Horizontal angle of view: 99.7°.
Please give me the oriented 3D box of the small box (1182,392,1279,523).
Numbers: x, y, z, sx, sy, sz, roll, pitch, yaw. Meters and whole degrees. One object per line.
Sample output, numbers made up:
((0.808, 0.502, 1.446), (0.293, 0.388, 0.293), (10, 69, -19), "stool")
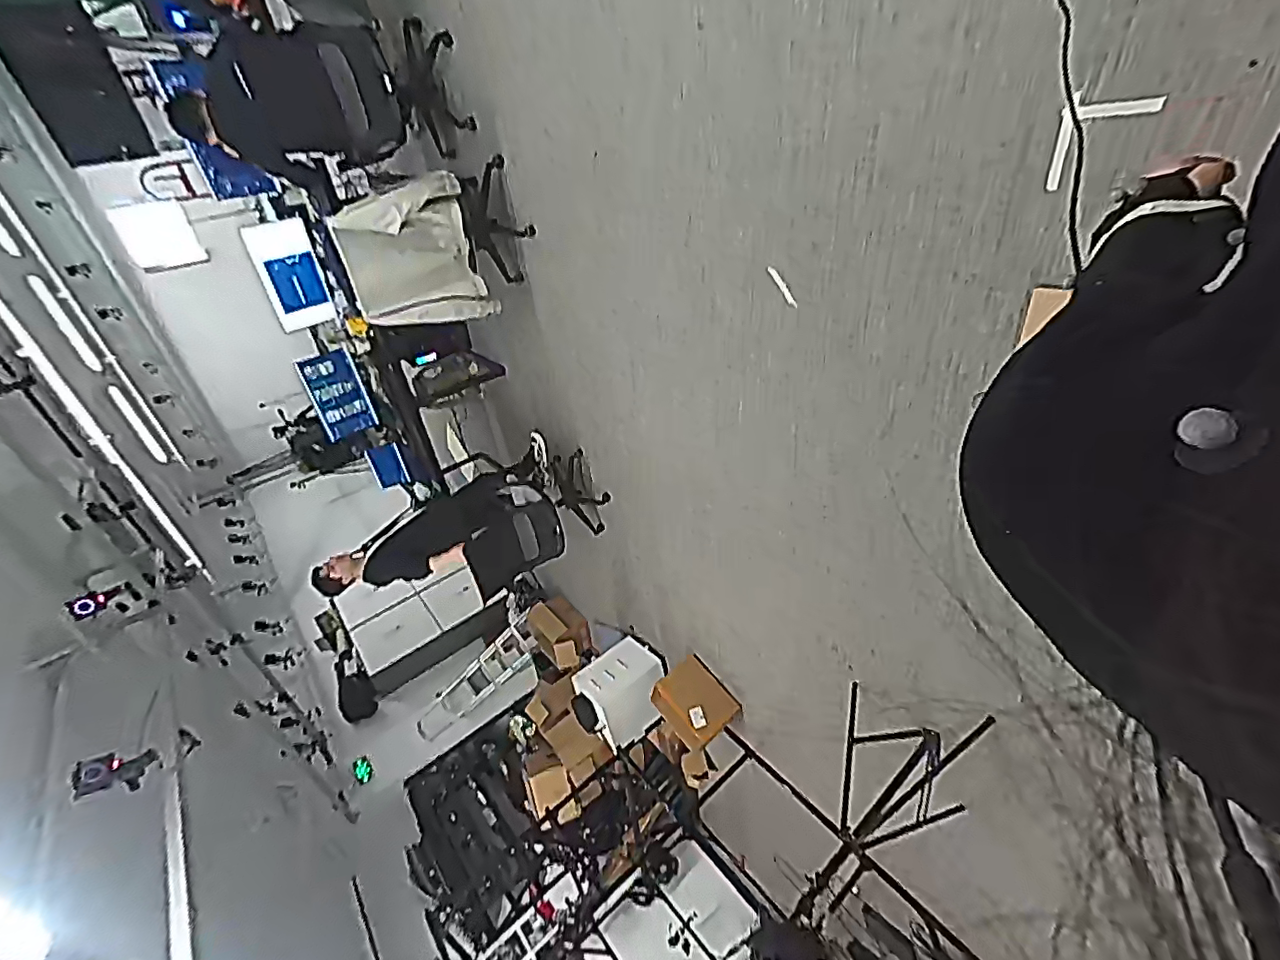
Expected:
((1.177, -0.047, 1.013), (0.168, 0.176, 0.179), (29, 138, 45), "small box")
